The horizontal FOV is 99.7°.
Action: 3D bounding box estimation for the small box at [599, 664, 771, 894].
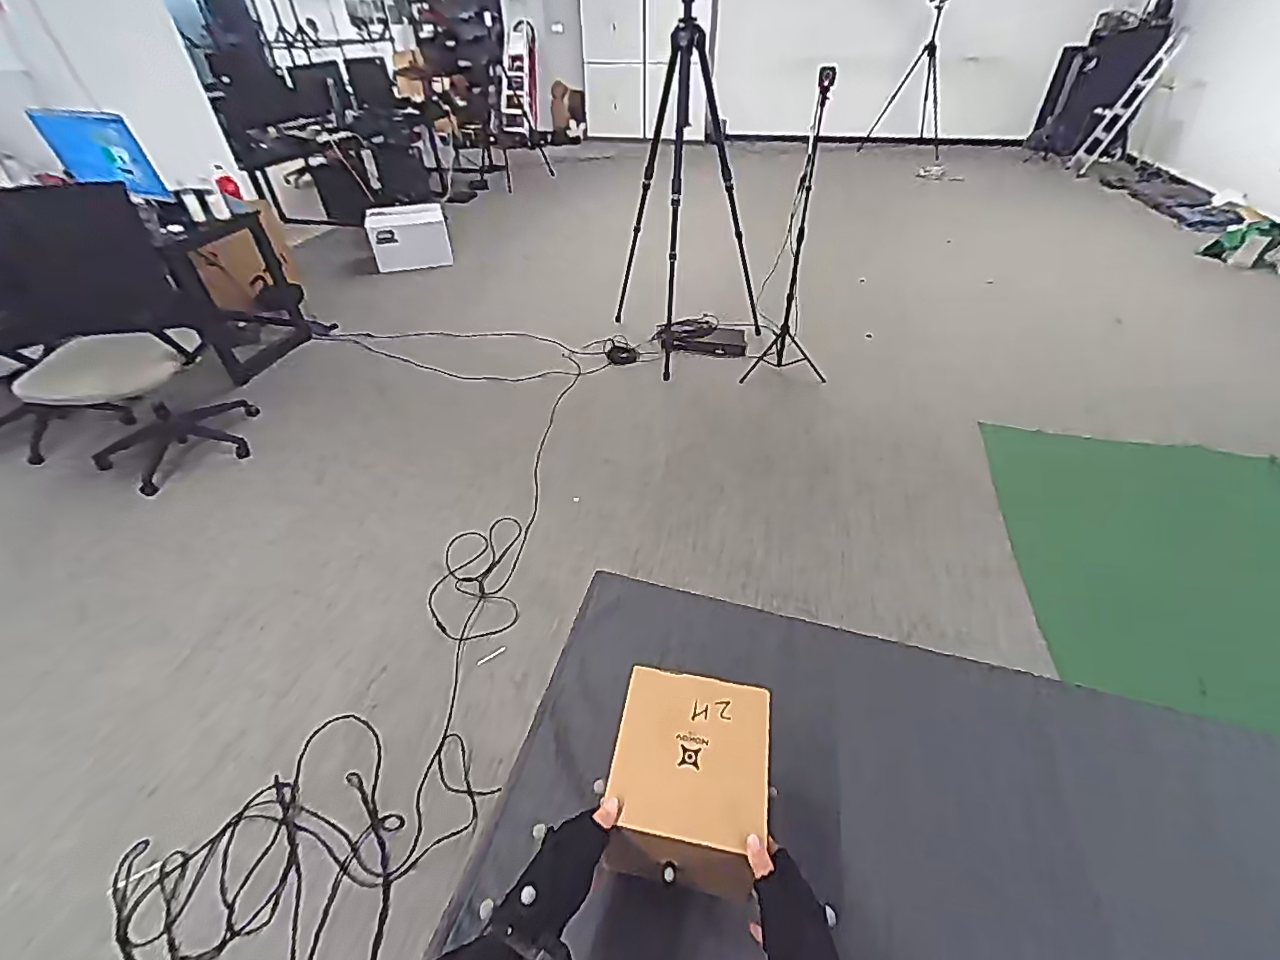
[{"bbox_3d":[0.056,0.351,0.636,0.168,0.176,0.179,8,41,8],"label":"small box"}]
